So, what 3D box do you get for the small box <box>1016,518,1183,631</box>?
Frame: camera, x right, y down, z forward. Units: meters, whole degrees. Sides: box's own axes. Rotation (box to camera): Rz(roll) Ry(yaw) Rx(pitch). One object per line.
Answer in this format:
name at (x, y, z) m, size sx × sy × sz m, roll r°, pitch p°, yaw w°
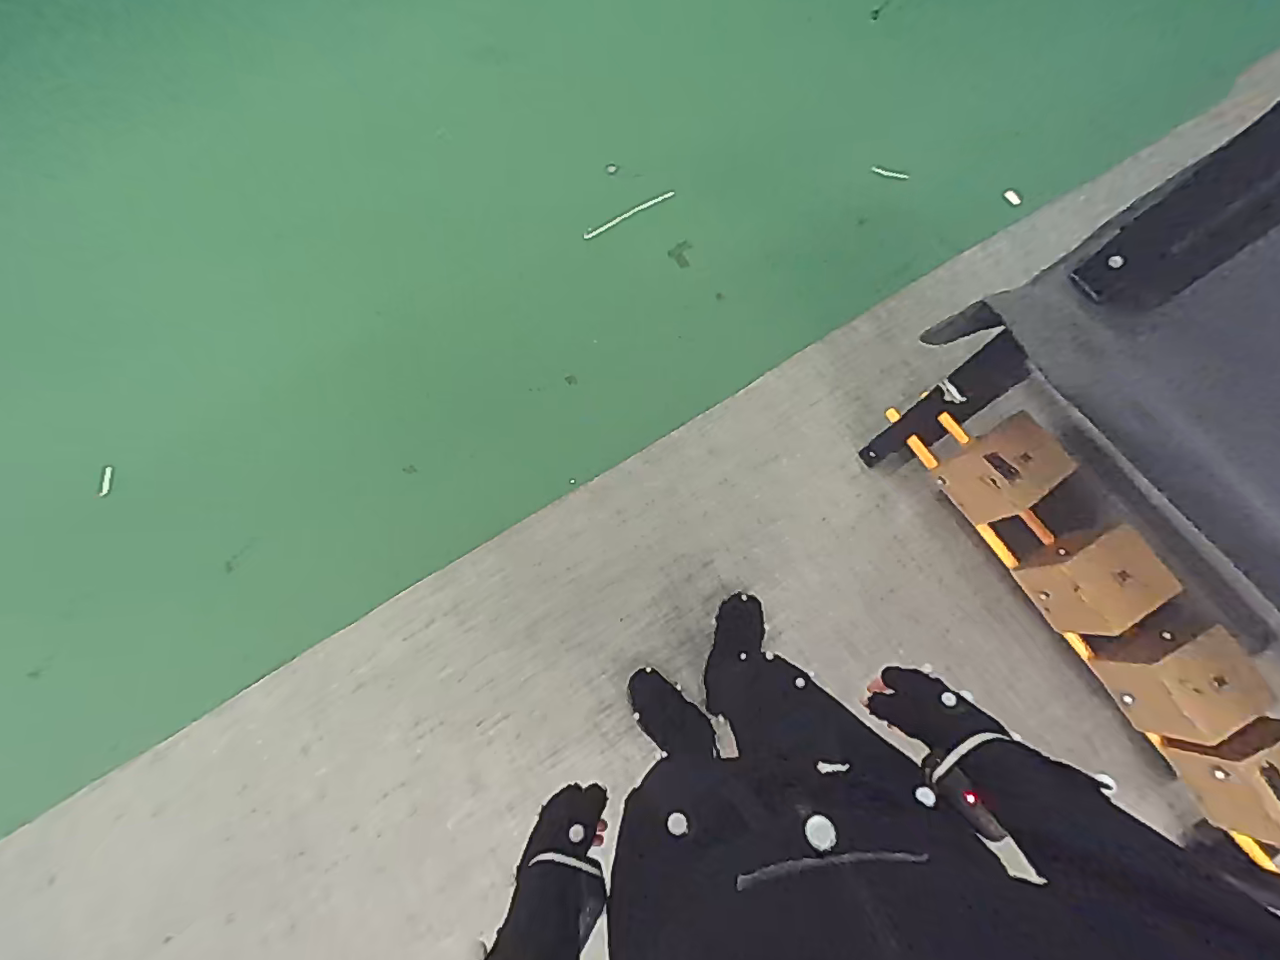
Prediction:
small box at (0.971, 0.204, 1.161) m, size 0.179 × 0.176 × 0.168 m, roll -31°, pitch 77°, yaw -5°
